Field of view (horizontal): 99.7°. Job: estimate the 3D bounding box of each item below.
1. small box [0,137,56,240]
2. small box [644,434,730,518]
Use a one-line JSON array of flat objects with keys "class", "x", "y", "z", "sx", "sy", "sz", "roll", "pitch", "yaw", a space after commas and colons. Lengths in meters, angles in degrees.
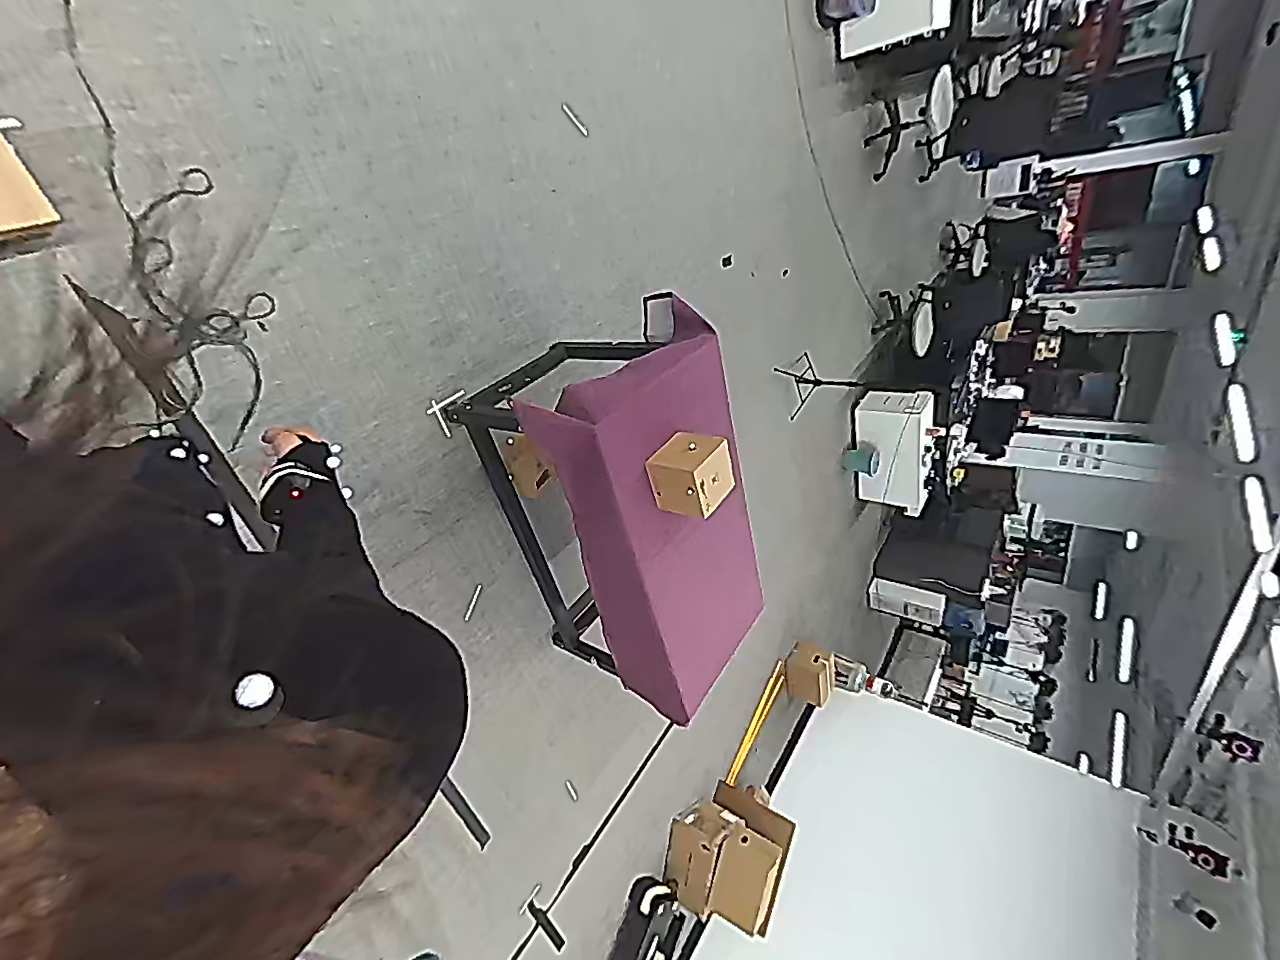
[{"class": "small box", "x": -1.189, "y": -0.517, "z": 0.939, "sx": 0.168, "sy": 0.176, "sz": 0.179, "roll": -41, "pitch": 129, "yaw": -38}, {"class": "small box", "x": 0.137, "y": -0.020, "z": 1.555, "sx": 0.179, "sy": 0.176, "sz": 0.168, "roll": -44, "pitch": 131, "yaw": -37}]
